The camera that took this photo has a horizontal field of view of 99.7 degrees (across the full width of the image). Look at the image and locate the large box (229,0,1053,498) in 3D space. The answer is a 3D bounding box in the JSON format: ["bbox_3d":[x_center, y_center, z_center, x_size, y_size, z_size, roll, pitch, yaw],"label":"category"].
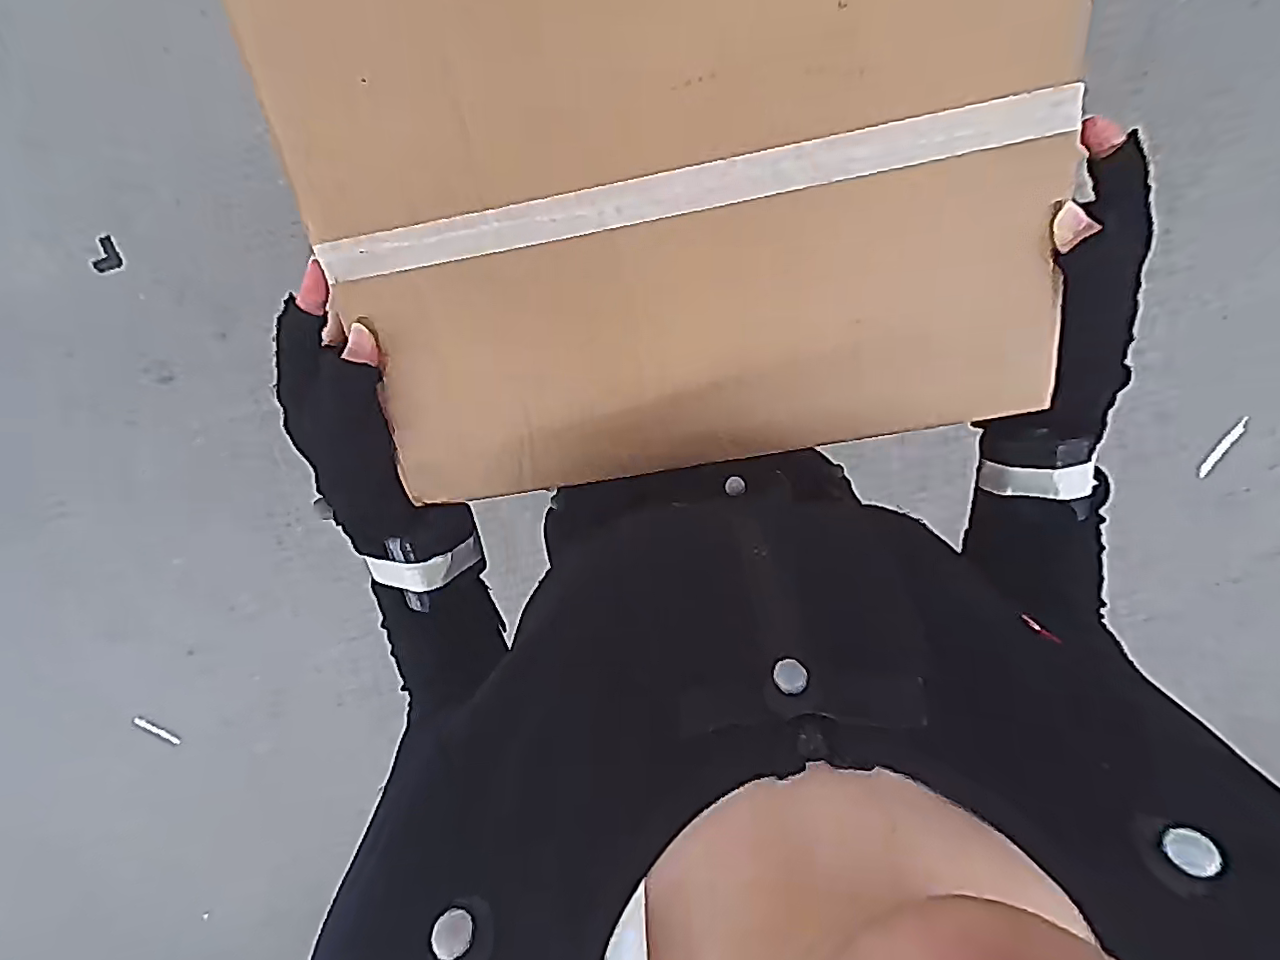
[{"bbox_3d":[0.018,-0.217,0.435,0.408,0.320,0.320,-9,111,5],"label":"large box"}]
